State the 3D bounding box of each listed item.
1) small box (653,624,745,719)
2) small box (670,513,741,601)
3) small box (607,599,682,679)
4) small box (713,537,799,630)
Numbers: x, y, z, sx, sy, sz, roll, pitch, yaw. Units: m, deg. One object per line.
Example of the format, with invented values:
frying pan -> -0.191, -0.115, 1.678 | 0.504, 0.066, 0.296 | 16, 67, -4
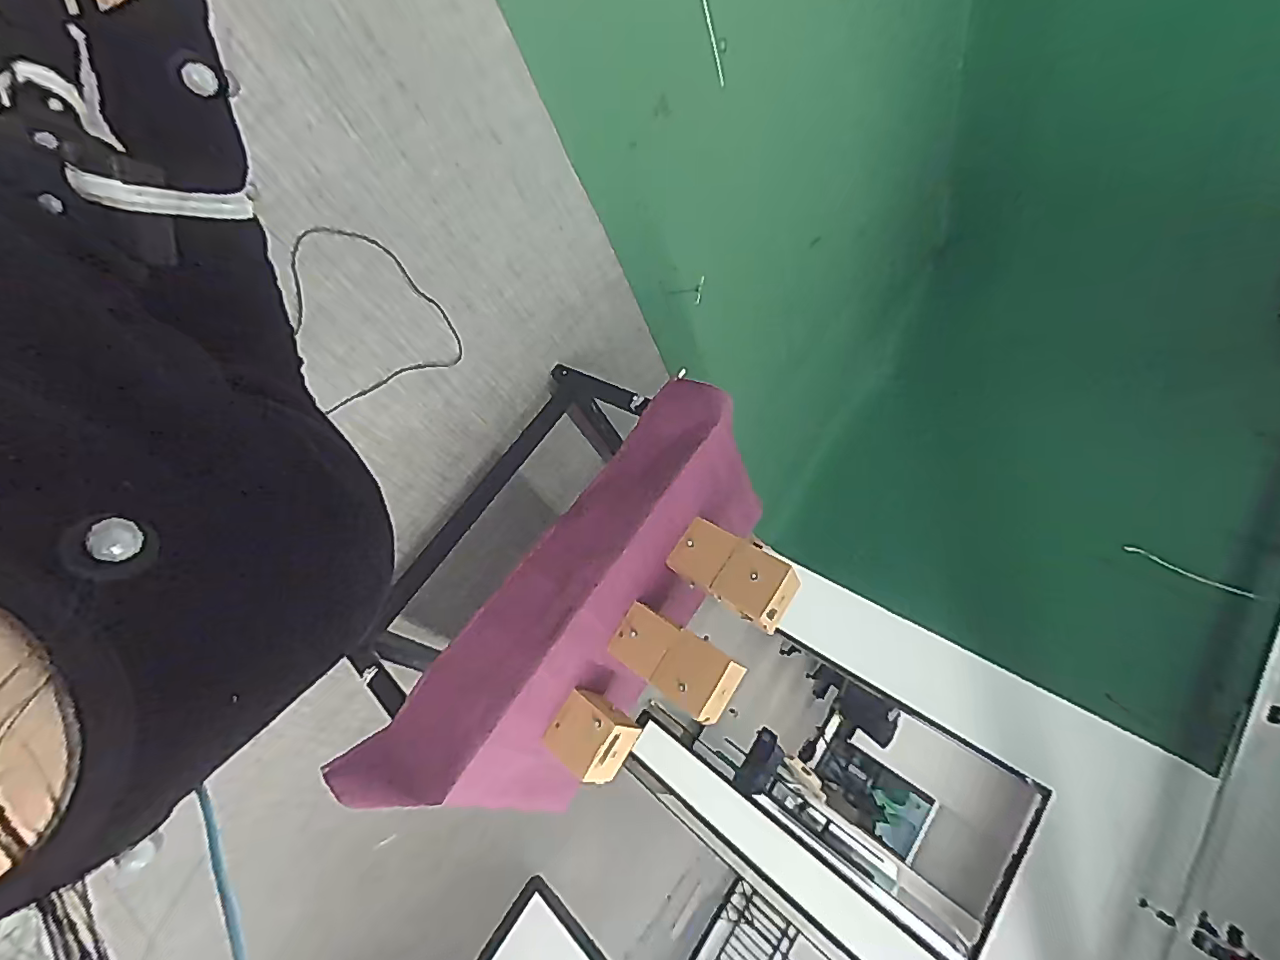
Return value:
small box -> 0.157, 0.529, 1.494 | 0.179, 0.176, 0.168 | -57, 145, -9
small box -> 0.210, 0.233, 1.648 | 0.179, 0.176, 0.168 | -54, 144, -11
small box -> 0.038, 0.471, 1.591 | 0.168, 0.176, 0.179 | -58, 144, -7
small box -> 0.329, 0.296, 1.553 | 0.179, 0.176, 0.168 | -55, 144, -12
